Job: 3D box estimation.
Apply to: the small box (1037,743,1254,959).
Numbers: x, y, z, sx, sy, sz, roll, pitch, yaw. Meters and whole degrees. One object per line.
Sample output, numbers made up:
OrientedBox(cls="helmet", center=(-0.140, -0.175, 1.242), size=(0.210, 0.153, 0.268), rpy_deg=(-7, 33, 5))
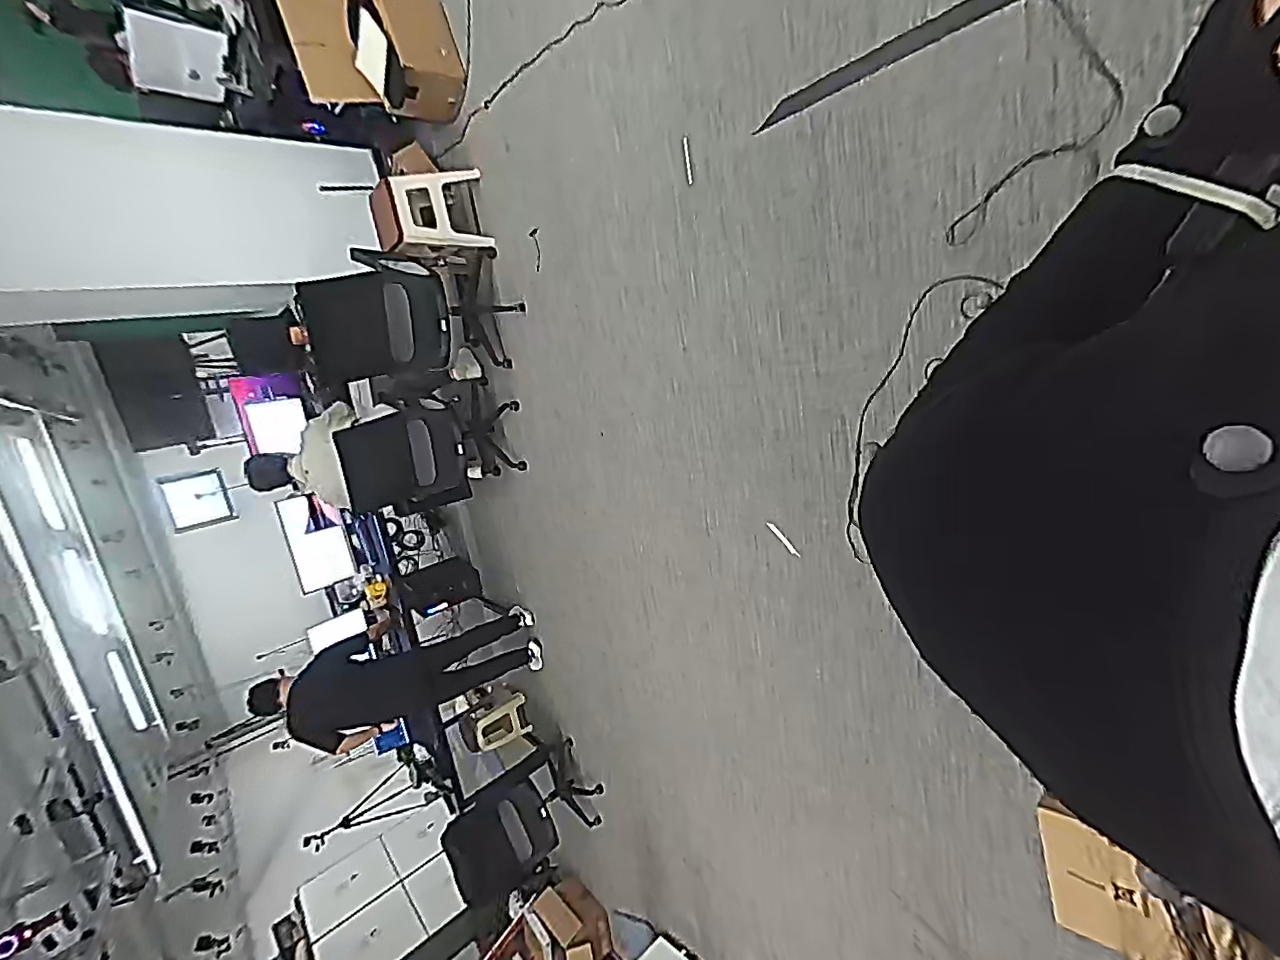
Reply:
OrientedBox(cls="small box", center=(0.646, 0.469, 0.690), size=(0.179, 0.176, 0.168), rpy_deg=(-7, 96, 52))
